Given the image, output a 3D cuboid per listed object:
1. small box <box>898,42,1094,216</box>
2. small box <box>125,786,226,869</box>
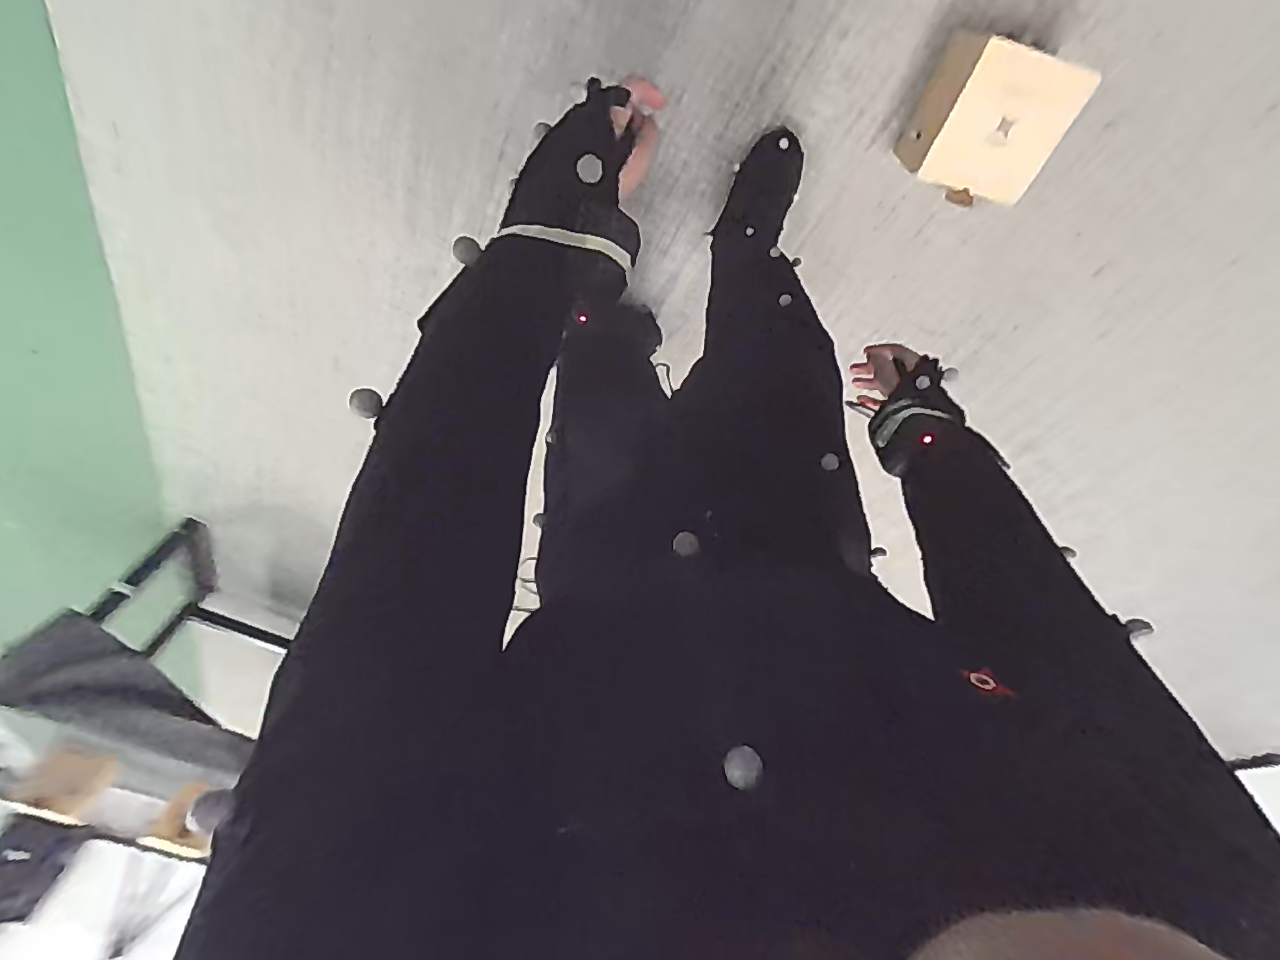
[{"bbox_3d":[0.525,-0.543,0.835,0.168,0.176,0.179,15,131,-4],"label":"small box"},{"bbox_3d":[-1.448,1.089,1.692,0.168,0.176,0.179,38,127,-21],"label":"small box"}]
